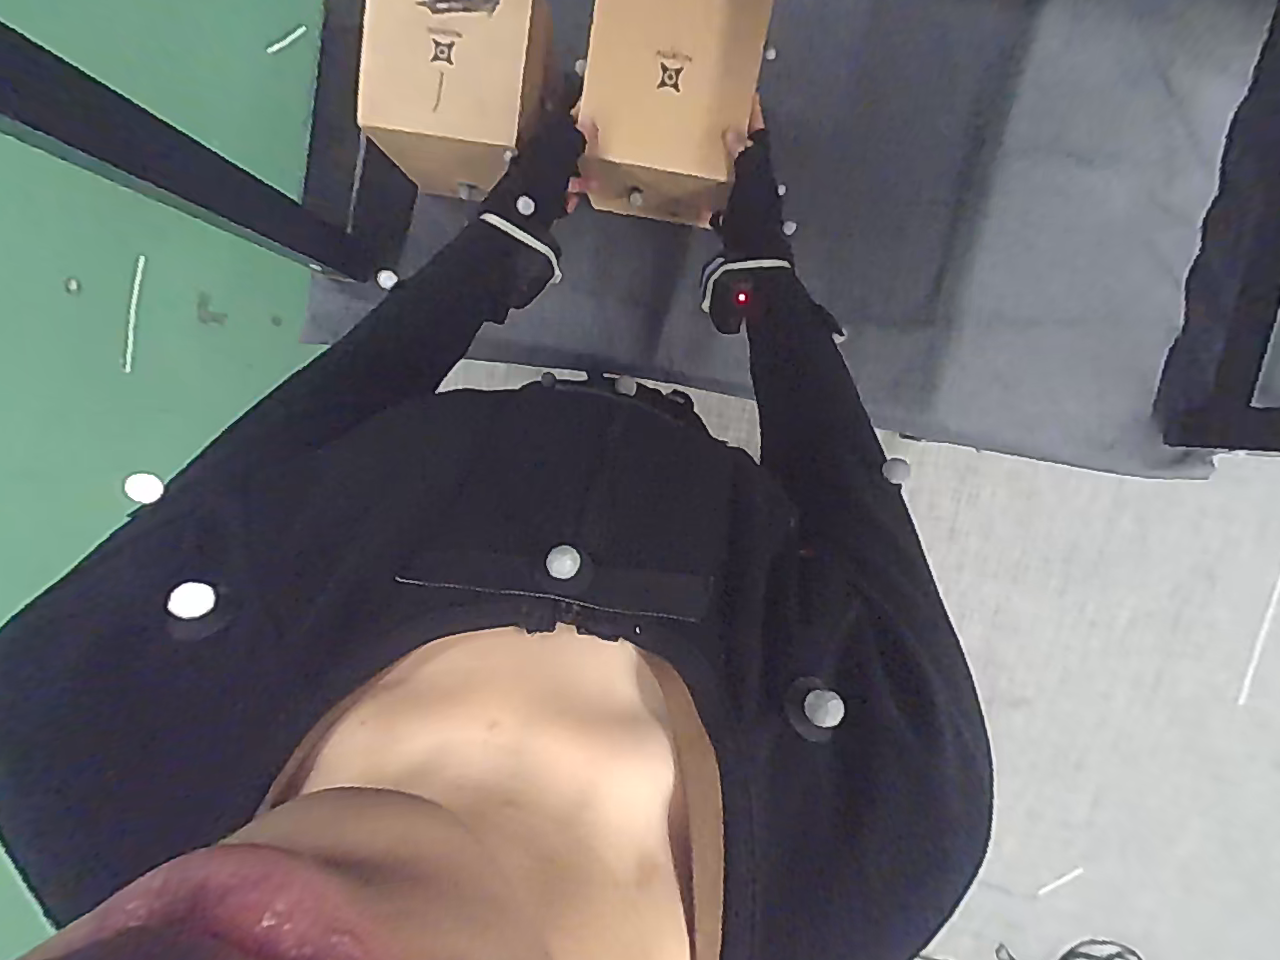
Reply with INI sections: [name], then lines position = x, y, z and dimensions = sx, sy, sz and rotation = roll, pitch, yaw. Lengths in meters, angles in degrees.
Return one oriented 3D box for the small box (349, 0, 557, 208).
[small box]
position = -0.195, -0.440, 0.610
dimensions = 0.168, 0.176, 0.179
rotation = 10, 96, 1
